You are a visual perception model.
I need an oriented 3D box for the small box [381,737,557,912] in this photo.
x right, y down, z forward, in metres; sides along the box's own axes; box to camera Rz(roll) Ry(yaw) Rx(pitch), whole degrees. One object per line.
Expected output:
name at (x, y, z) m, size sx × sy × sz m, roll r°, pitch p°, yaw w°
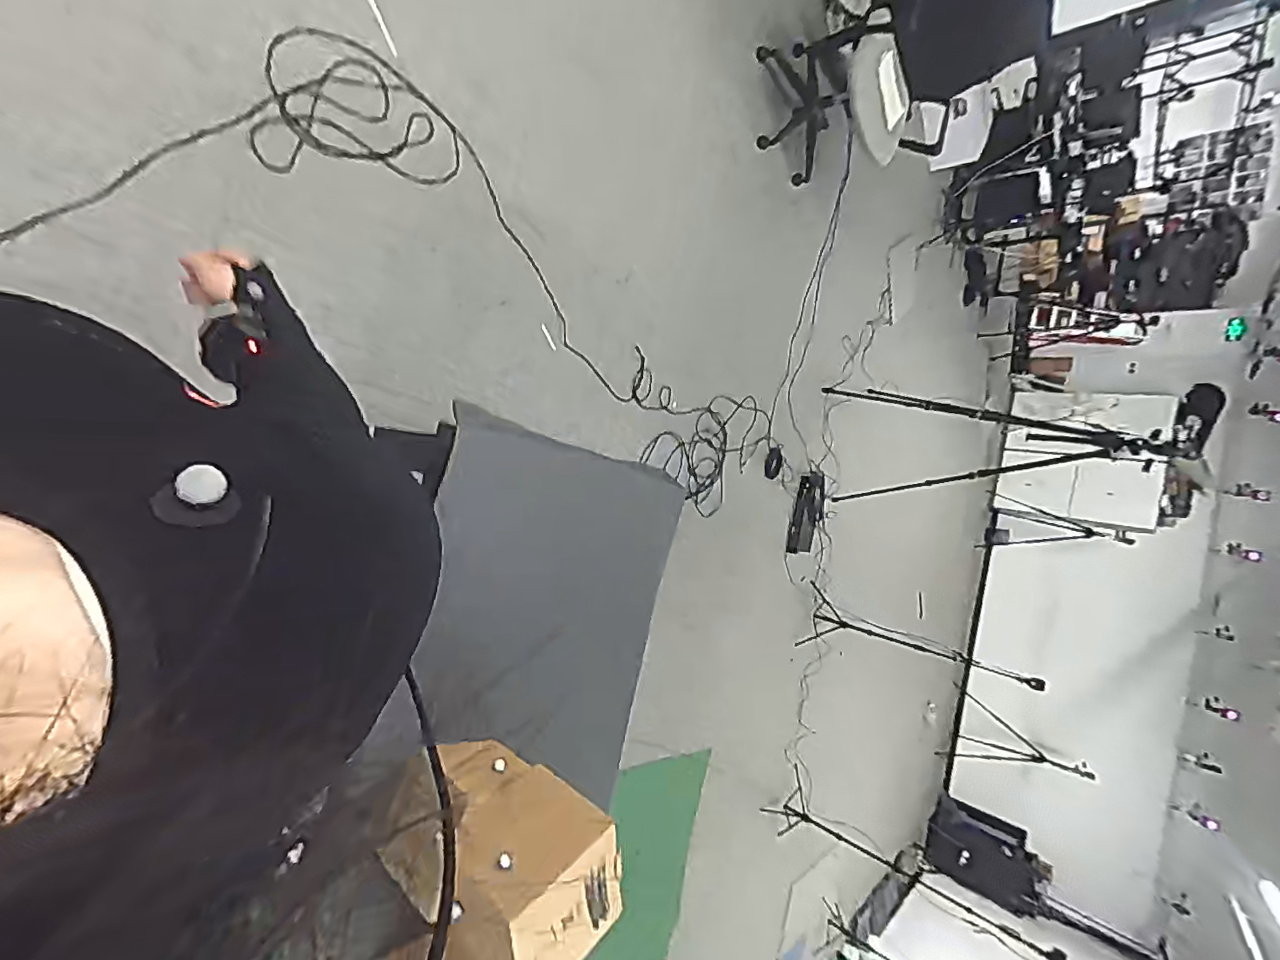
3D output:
small box at (-0.270, 0.527, 0.861) m, size 0.179 × 0.176 × 0.168 m, roll 28°, pitch 75°, yaw -49°

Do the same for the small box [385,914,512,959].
small box at (-0.322, 0.852, 0.857) m, size 0.179 × 0.176 × 0.168 m, roll 15°, pitch 85°, yaw -51°
